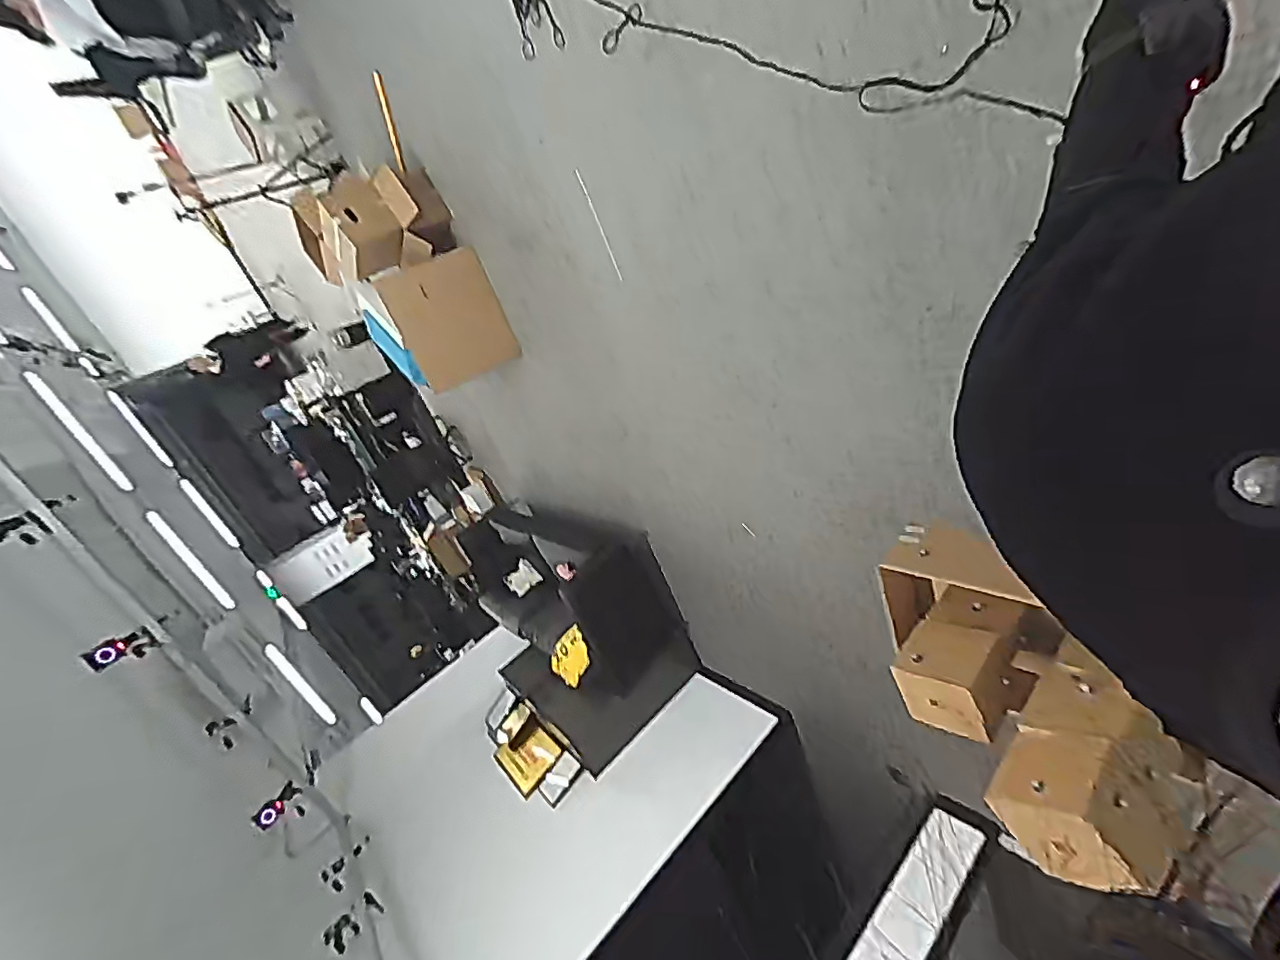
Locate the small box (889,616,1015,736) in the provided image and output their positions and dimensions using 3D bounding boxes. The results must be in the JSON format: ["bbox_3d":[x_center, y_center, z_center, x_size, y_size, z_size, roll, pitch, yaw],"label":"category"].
[{"bbox_3d":[0.706,0.431,1.224,0.179,0.176,0.168,-3,121,55],"label":"small box"}]

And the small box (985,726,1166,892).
[{"bbox_3d":[0.761,0.554,0.942,0.168,0.176,0.179,52,151,4],"label":"small box"}]

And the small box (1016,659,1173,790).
[{"bbox_3d":[0.870,0.475,1.034,0.179,0.176,0.168,58,150,-8],"label":"small box"}]
